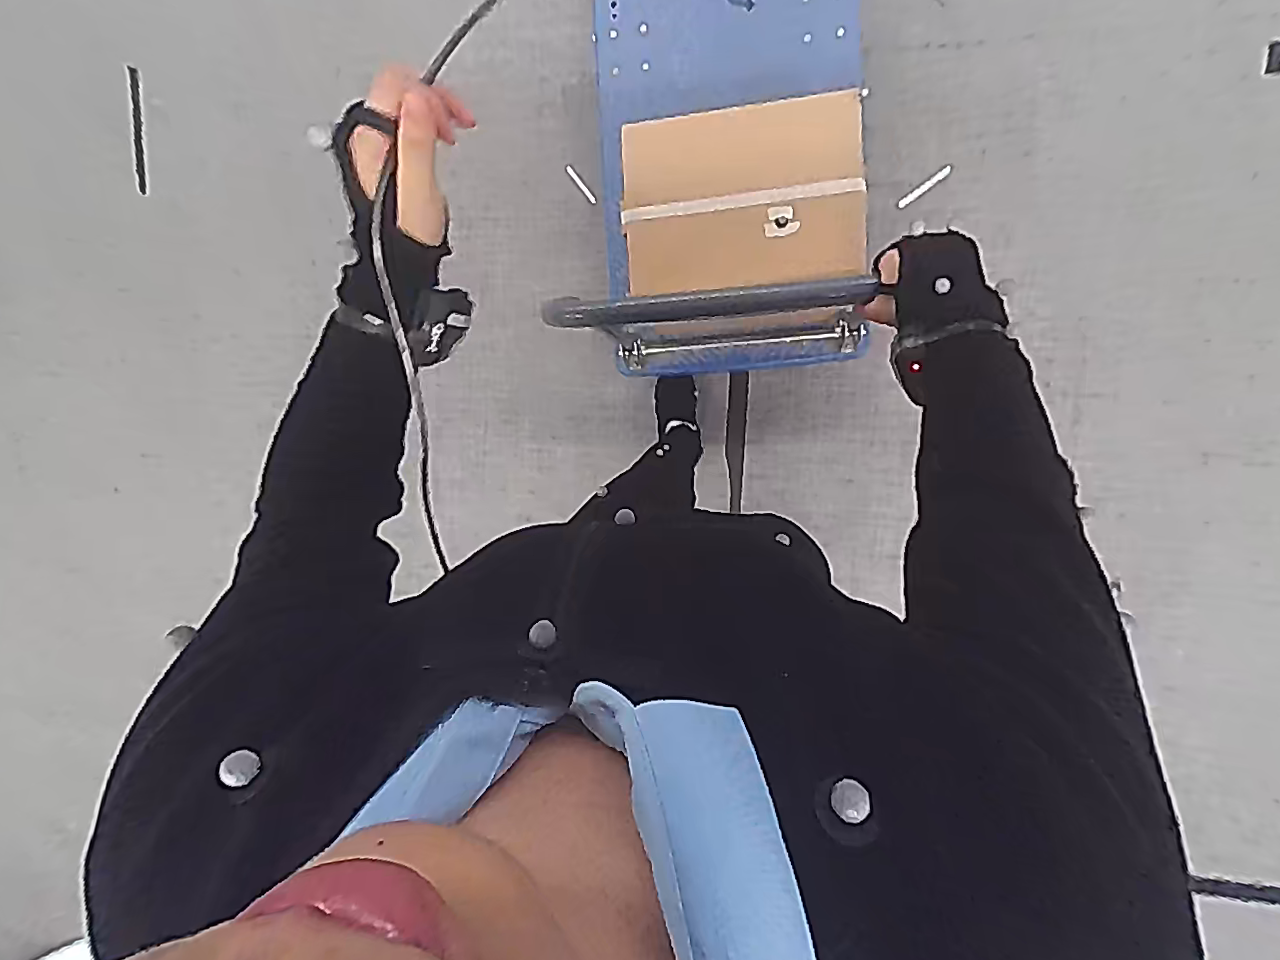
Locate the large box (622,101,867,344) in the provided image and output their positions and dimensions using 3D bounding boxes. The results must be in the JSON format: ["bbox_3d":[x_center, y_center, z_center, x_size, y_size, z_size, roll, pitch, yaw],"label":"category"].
[{"bbox_3d":[0.195,-0.468,1.070,0.408,0.320,0.320,-3,94,9],"label":"large box"}]
